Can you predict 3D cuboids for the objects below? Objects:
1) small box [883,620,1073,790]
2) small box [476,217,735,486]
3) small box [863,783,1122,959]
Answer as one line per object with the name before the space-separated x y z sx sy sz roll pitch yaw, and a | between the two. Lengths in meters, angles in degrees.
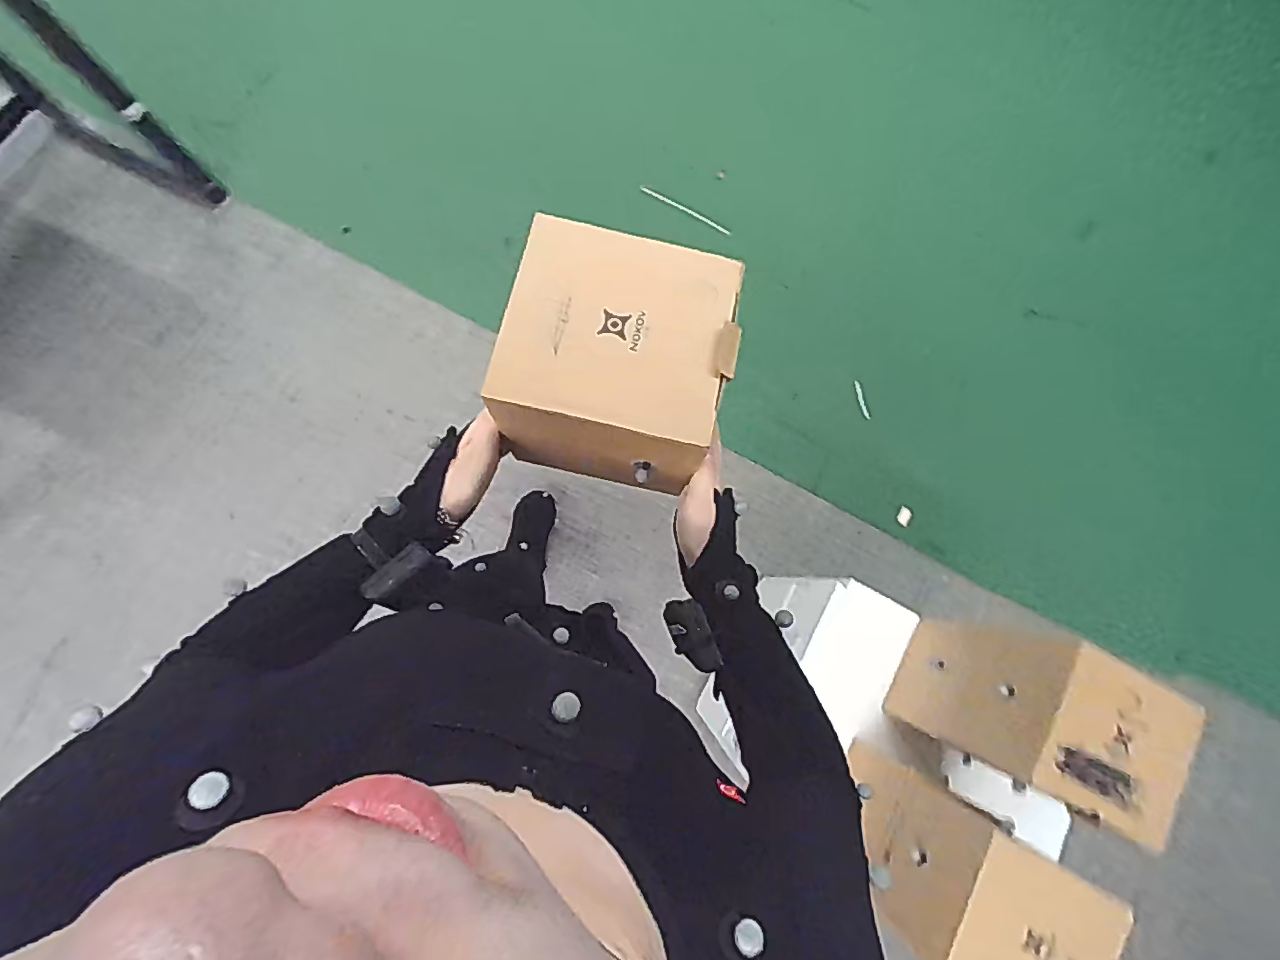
small box | 0.525 0.342 0.865 0.168 0.176 0.179 29 81 1
small box | -0.027 -0.100 0.496 0.179 0.176 0.168 11 75 -1
small box | 0.410 0.506 0.660 0.179 0.176 0.168 31 80 0
